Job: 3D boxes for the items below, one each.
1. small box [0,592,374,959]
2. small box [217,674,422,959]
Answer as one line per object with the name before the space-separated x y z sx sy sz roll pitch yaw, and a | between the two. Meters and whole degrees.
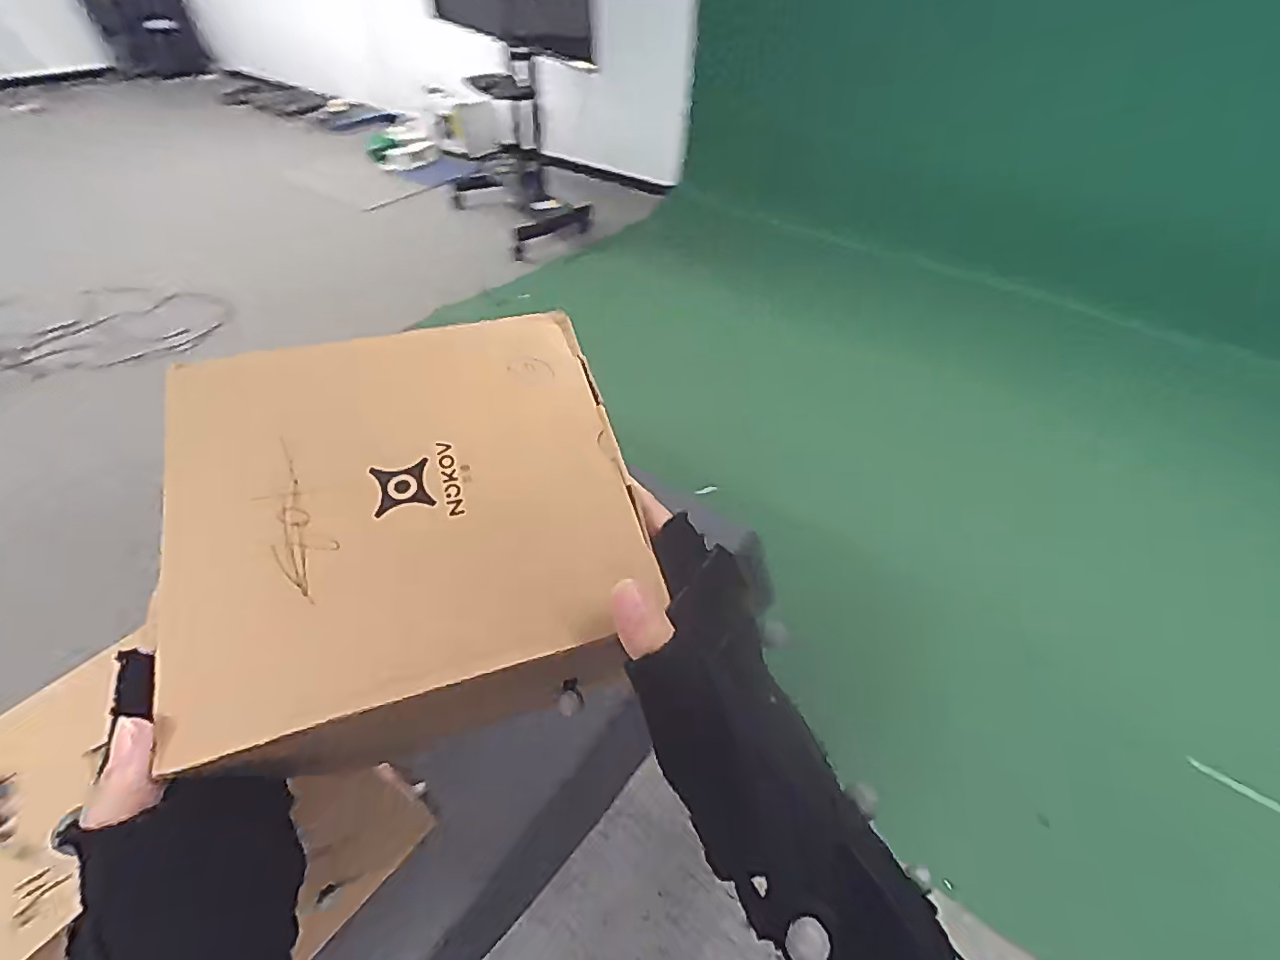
small box | -0.333 0.229 0.414 0.168 0.176 0.179 30 51 26
small box | -0.342 0.339 0.535 0.168 0.176 0.179 30 52 25
